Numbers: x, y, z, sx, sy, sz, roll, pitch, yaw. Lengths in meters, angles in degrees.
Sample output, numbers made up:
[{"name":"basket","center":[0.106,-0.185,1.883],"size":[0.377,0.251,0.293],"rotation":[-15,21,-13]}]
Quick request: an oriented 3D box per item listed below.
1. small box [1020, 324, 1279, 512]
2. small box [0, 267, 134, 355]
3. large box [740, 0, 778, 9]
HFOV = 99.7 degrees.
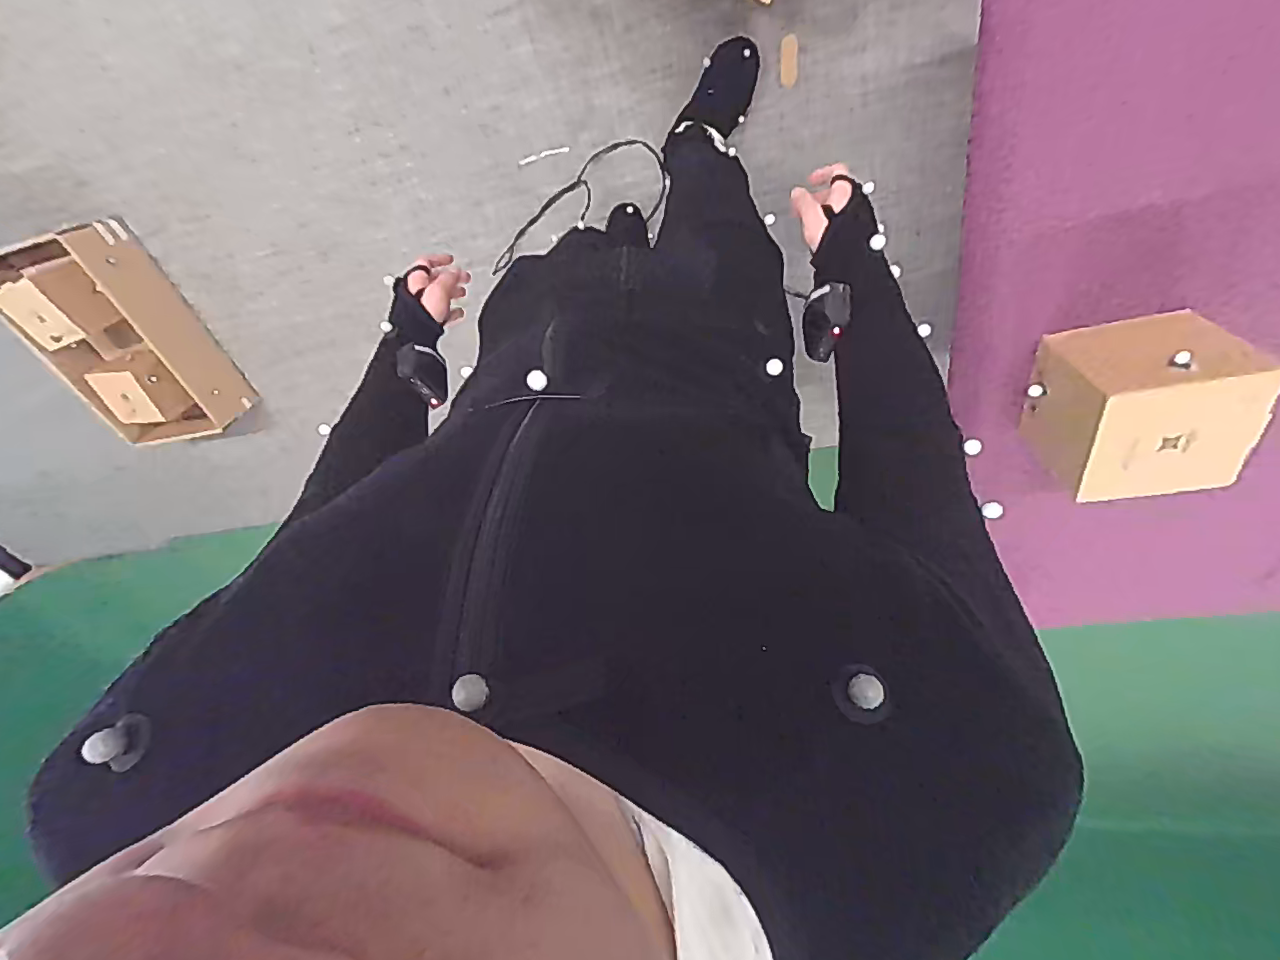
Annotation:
[{"name":"small box","center":[0.634,-0.083,0.692],"size":[0.179,0.176,0.168],"rotation":[-8,127,13]},{"name":"small box","center":[-1.629,-0.488,1.540],"size":[0.168,0.176,0.179],"rotation":[-12,127,16]},{"name":"large box","center":[0.107,-1.024,0.845],"size":[0.408,0.320,0.320],"rotation":[22,130,-12]}]
